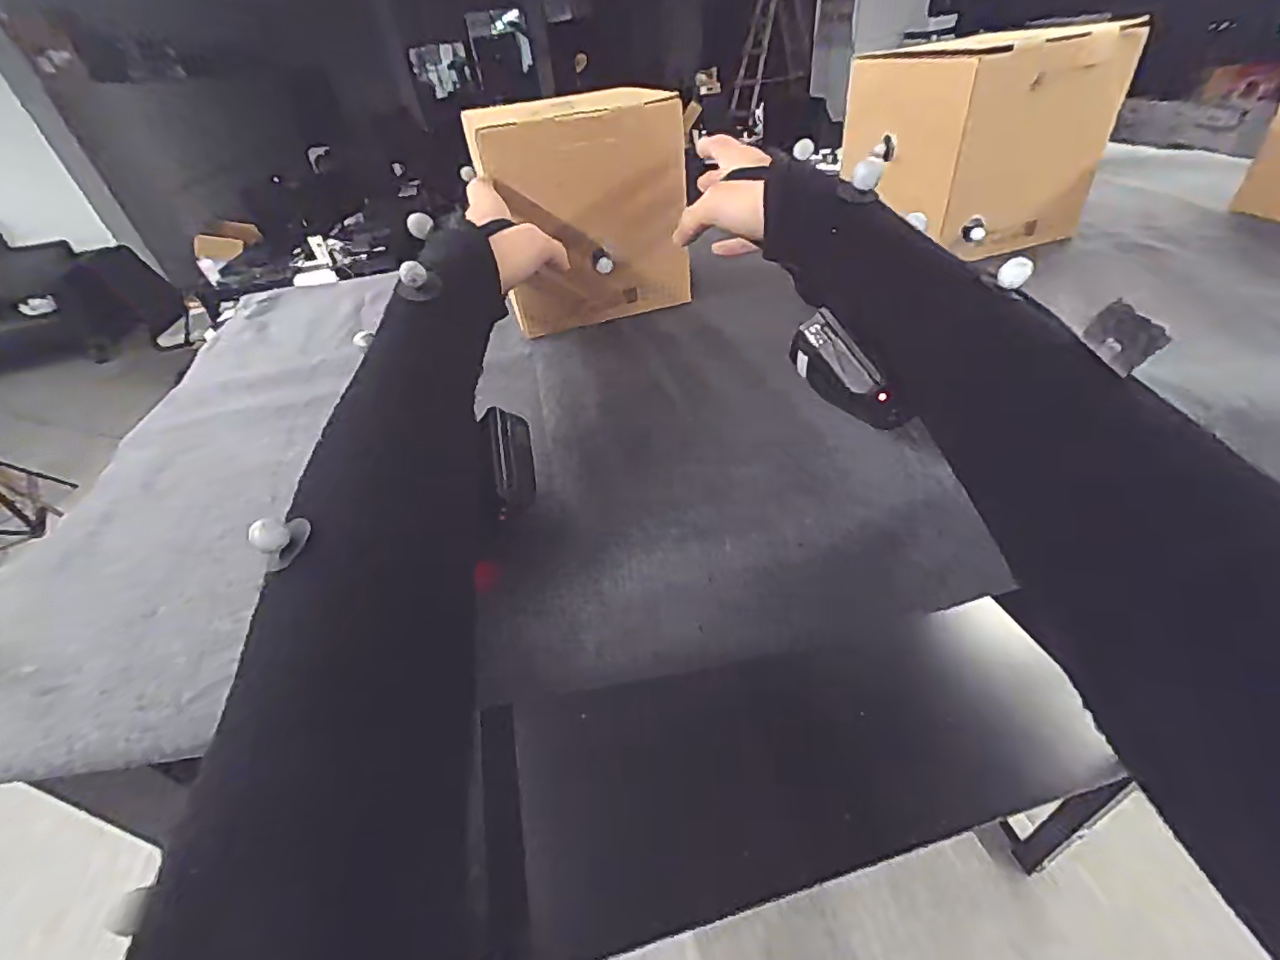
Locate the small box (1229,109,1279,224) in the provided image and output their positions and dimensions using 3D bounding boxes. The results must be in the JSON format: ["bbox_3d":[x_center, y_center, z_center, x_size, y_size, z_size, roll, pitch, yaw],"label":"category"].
[{"bbox_3d":[0.679,-0.302,0.447,0.168,0.176,0.179,-12,39,-3],"label":"small box"}]

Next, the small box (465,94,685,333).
[{"bbox_3d":[-0.062,-0.263,0.529,0.168,0.176,0.179,-16,40,-10],"label":"small box"}]

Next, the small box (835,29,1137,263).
[{"bbox_3d":[0.322,-0.334,0.549,0.168,0.176,0.179,-16,39,-9],"label":"small box"}]
